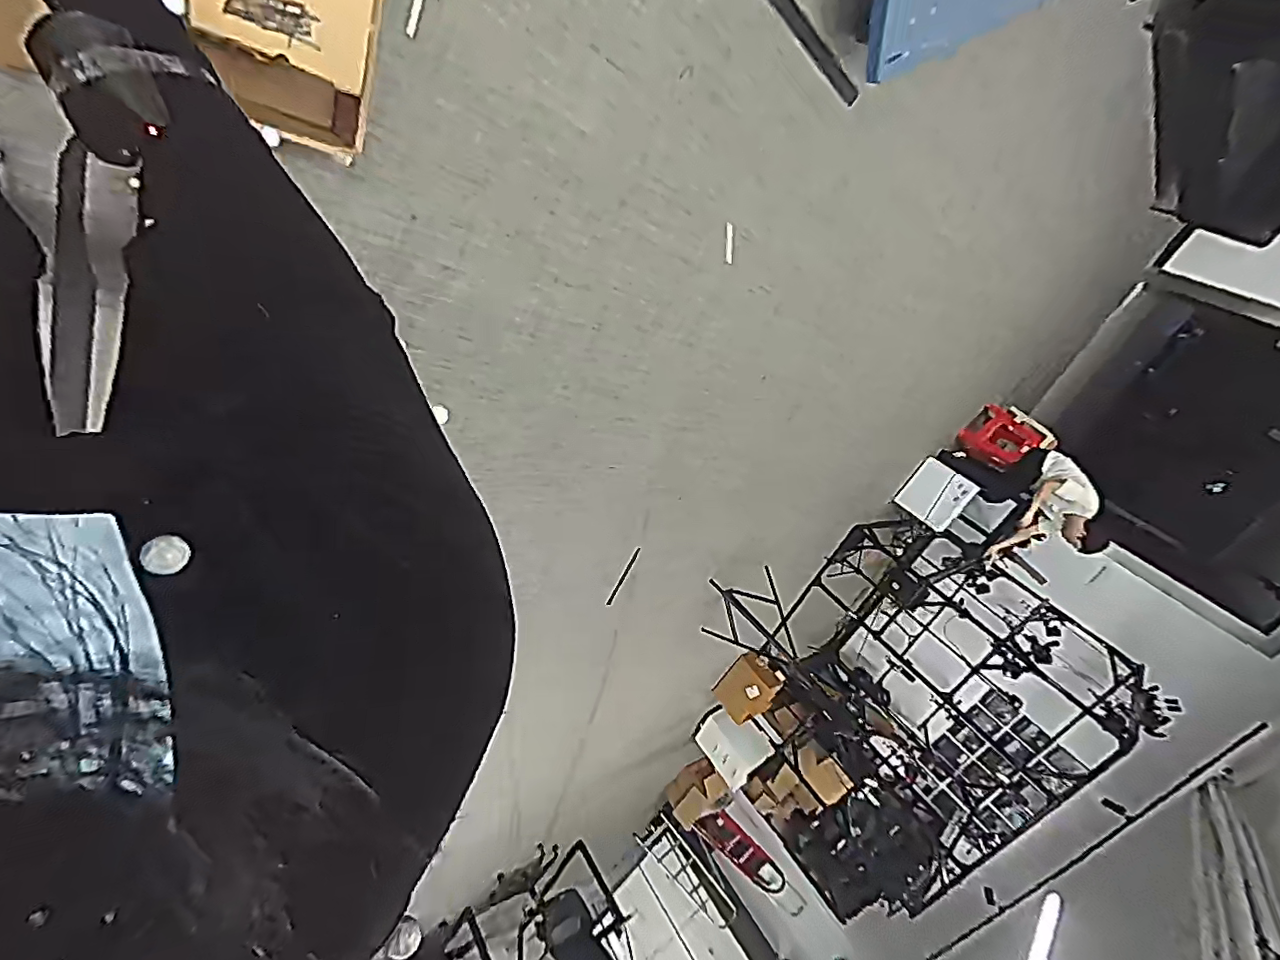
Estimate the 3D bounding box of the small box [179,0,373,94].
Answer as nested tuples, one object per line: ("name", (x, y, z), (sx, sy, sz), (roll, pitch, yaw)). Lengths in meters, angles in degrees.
("small box", (-0.415, -0.585, 0.615), (0.168, 0.176, 0.179), (-3, 126, -44))
